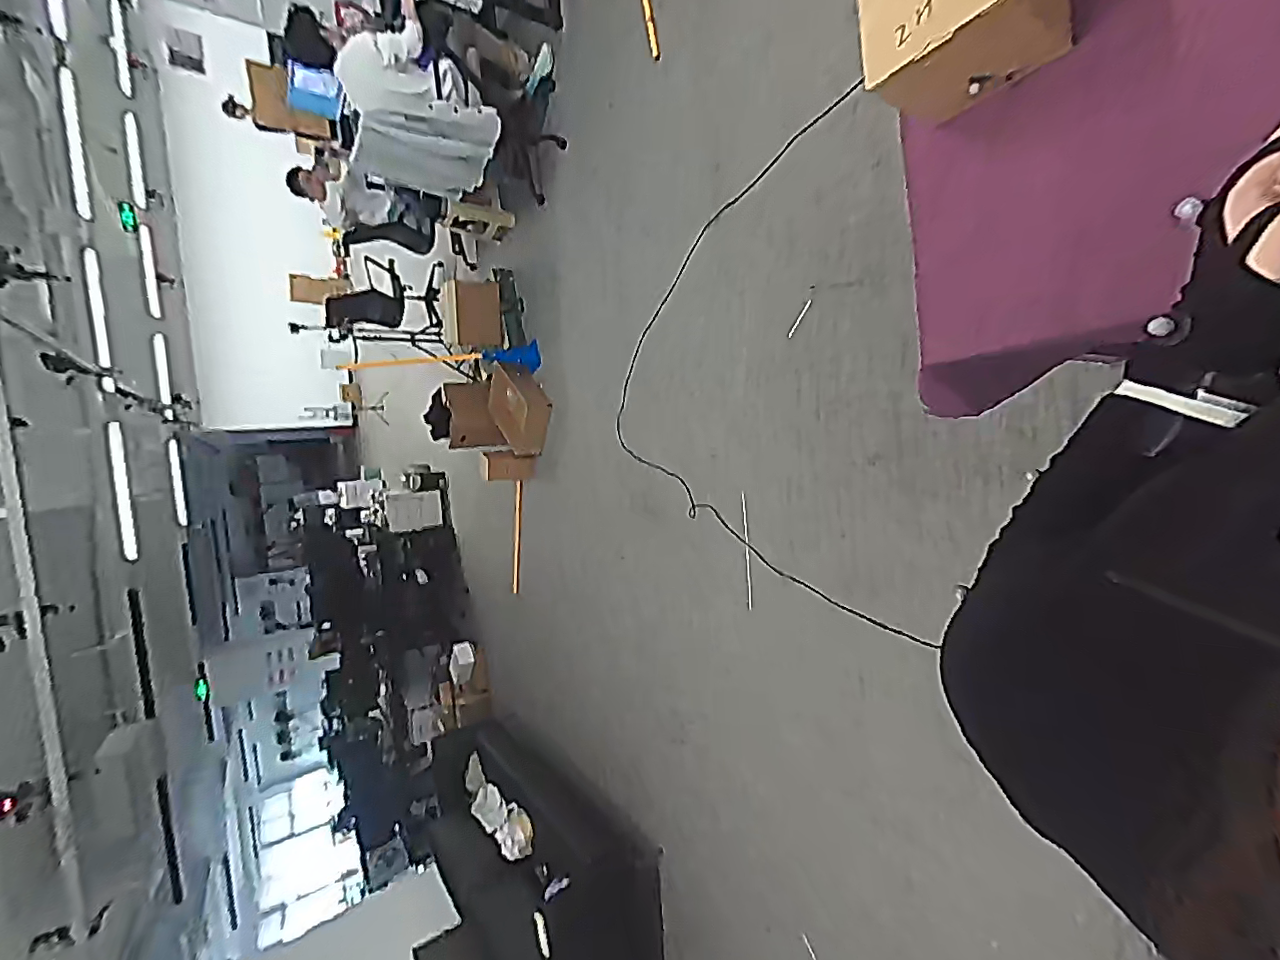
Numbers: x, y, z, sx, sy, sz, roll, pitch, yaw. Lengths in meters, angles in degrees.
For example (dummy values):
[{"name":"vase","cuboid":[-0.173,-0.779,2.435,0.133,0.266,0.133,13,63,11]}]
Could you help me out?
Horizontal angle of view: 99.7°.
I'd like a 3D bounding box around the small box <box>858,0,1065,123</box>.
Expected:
[{"name":"small box","cuboid":[0.391,-0.586,0.663,0.168,0.176,0.179,-2,94,56]}]
